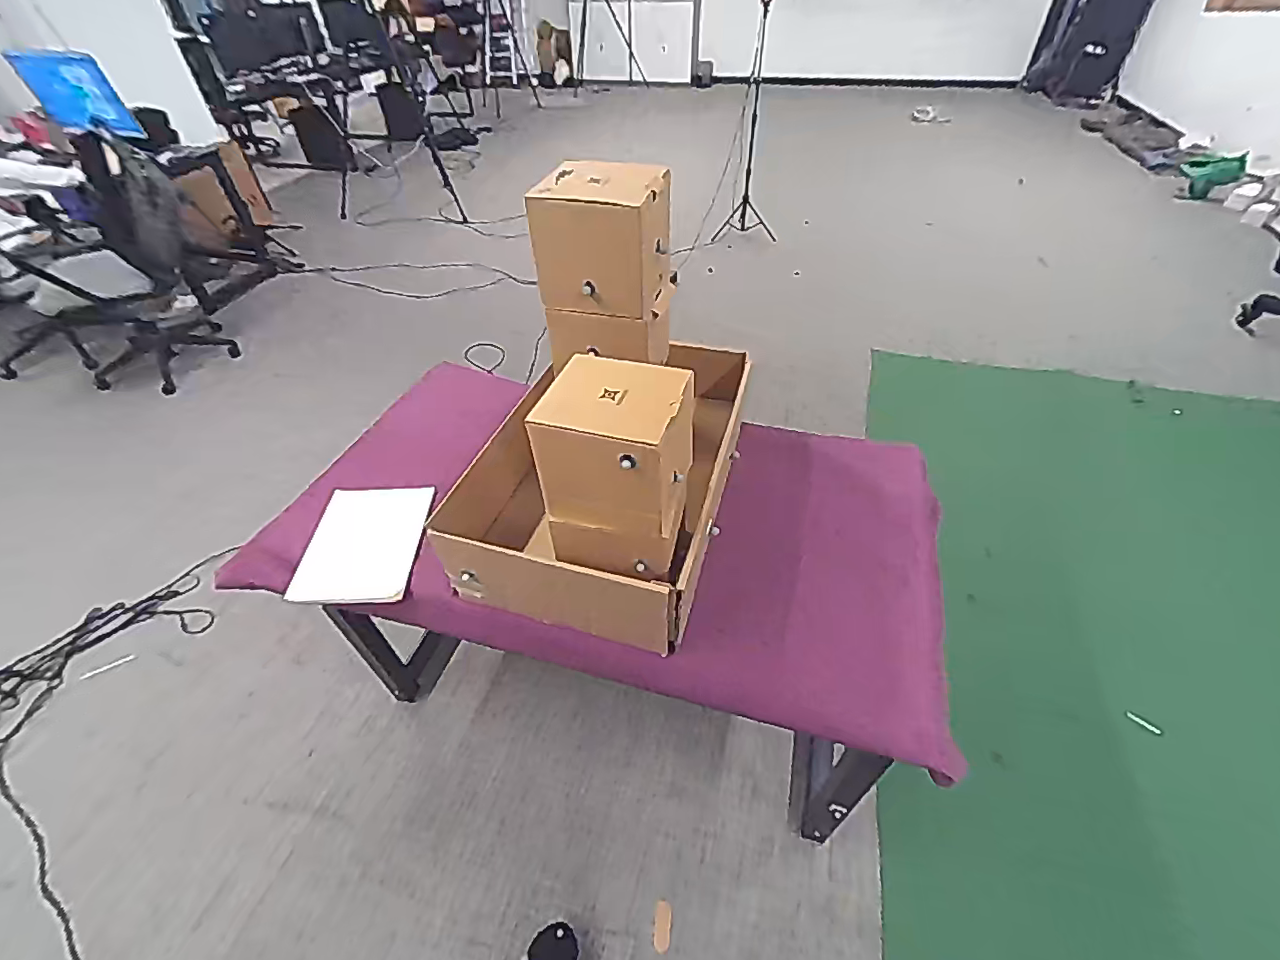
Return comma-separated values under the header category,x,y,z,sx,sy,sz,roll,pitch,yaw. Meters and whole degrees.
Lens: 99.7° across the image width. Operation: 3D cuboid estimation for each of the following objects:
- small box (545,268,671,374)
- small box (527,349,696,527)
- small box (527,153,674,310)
category,x,y,z,sx,sy,sz,roll,pitch,yaw
small box,-0.048,-0.269,0.961,0.179,0.176,0.168,10,47,11
small box,-0.030,-0.057,0.742,0.179,0.176,0.168,12,45,13
small box,-0.053,-0.387,0.847,0.179,0.176,0.168,12,47,12
